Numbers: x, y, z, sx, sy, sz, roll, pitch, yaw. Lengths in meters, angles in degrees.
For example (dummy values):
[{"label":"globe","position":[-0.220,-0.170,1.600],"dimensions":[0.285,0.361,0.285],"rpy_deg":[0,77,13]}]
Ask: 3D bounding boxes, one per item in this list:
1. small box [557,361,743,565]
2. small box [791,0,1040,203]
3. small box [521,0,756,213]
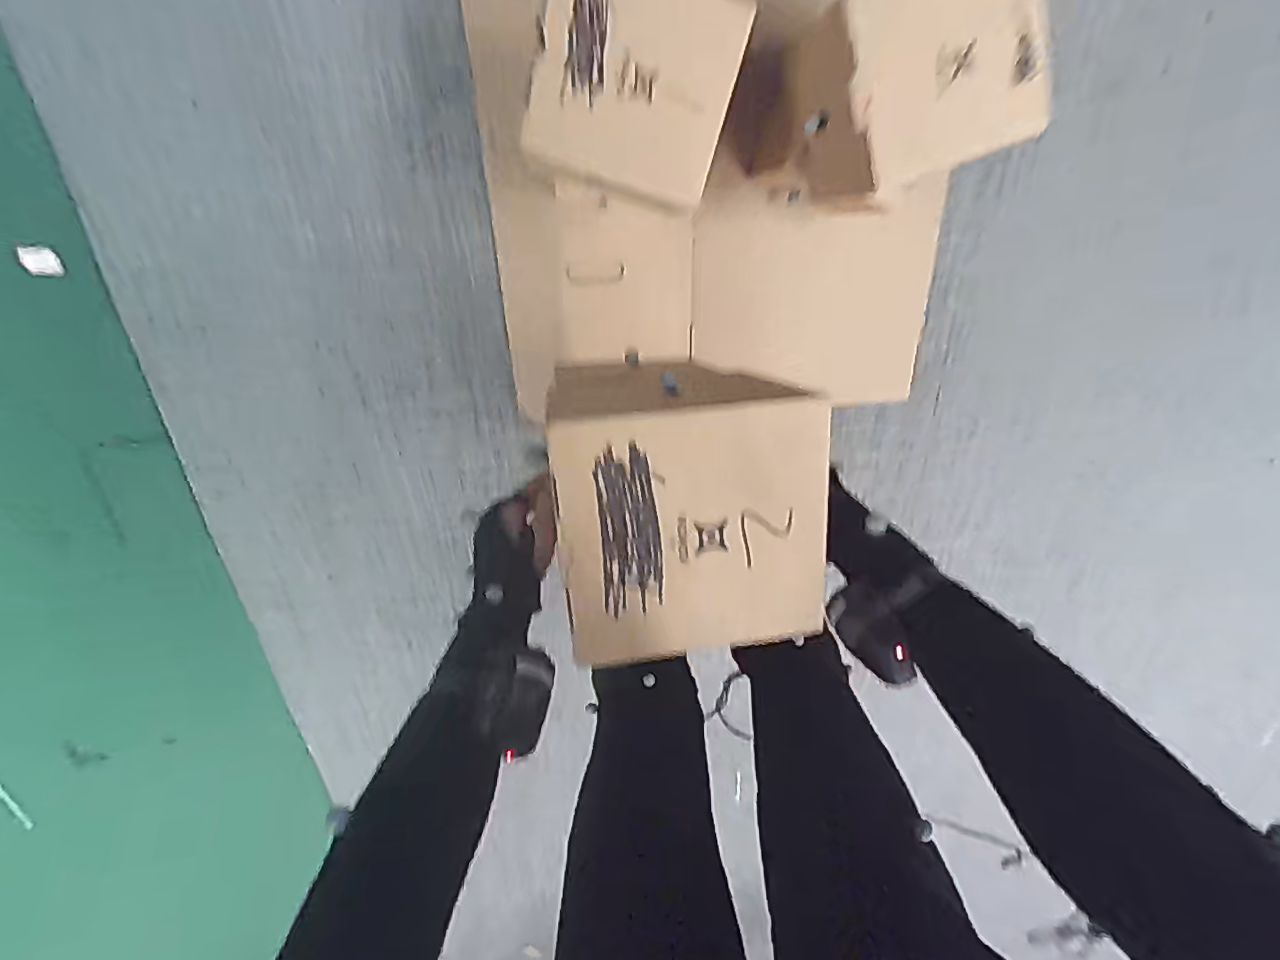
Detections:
[{"label":"small box","position":[-0.002,-0.029,0.572],"dimensions":[0.168,0.176,0.179],"rpy_deg":[-3,107,-9]},{"label":"small box","position":[0.274,-0.409,0.571],"dimensions":[0.179,0.176,0.168],"rpy_deg":[-19,114,4]},{"label":"small box","position":[-0.012,-0.385,0.554],"dimensions":[0.179,0.176,0.168],"rpy_deg":[13,112,-13]}]
